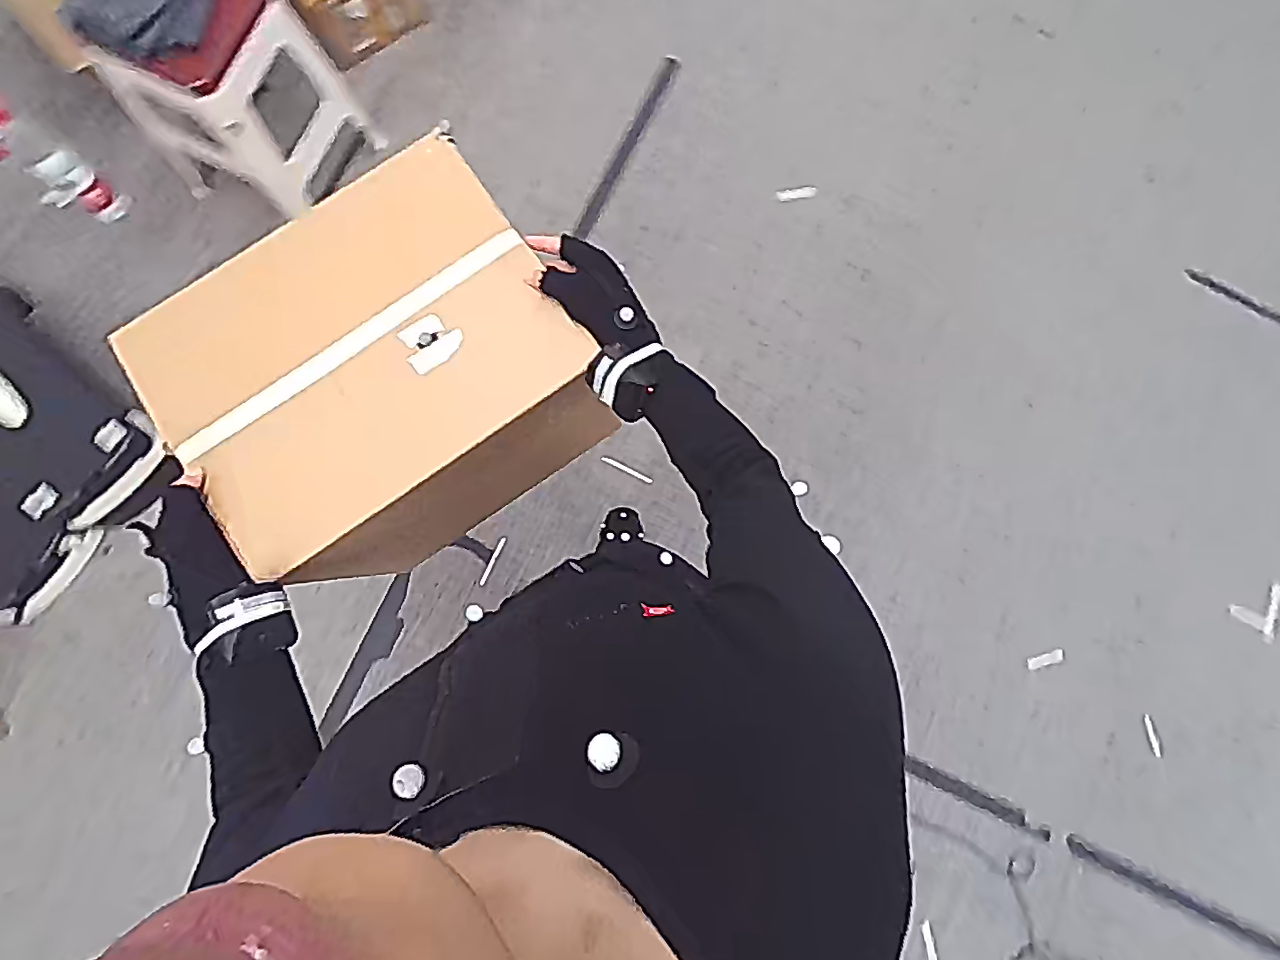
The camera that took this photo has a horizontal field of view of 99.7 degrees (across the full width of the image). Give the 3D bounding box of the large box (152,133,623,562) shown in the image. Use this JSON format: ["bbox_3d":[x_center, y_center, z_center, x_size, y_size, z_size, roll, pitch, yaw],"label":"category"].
[{"bbox_3d":[-0.273,-0.129,0.714,0.408,0.320,0.320,-34,84,-4],"label":"large box"}]
